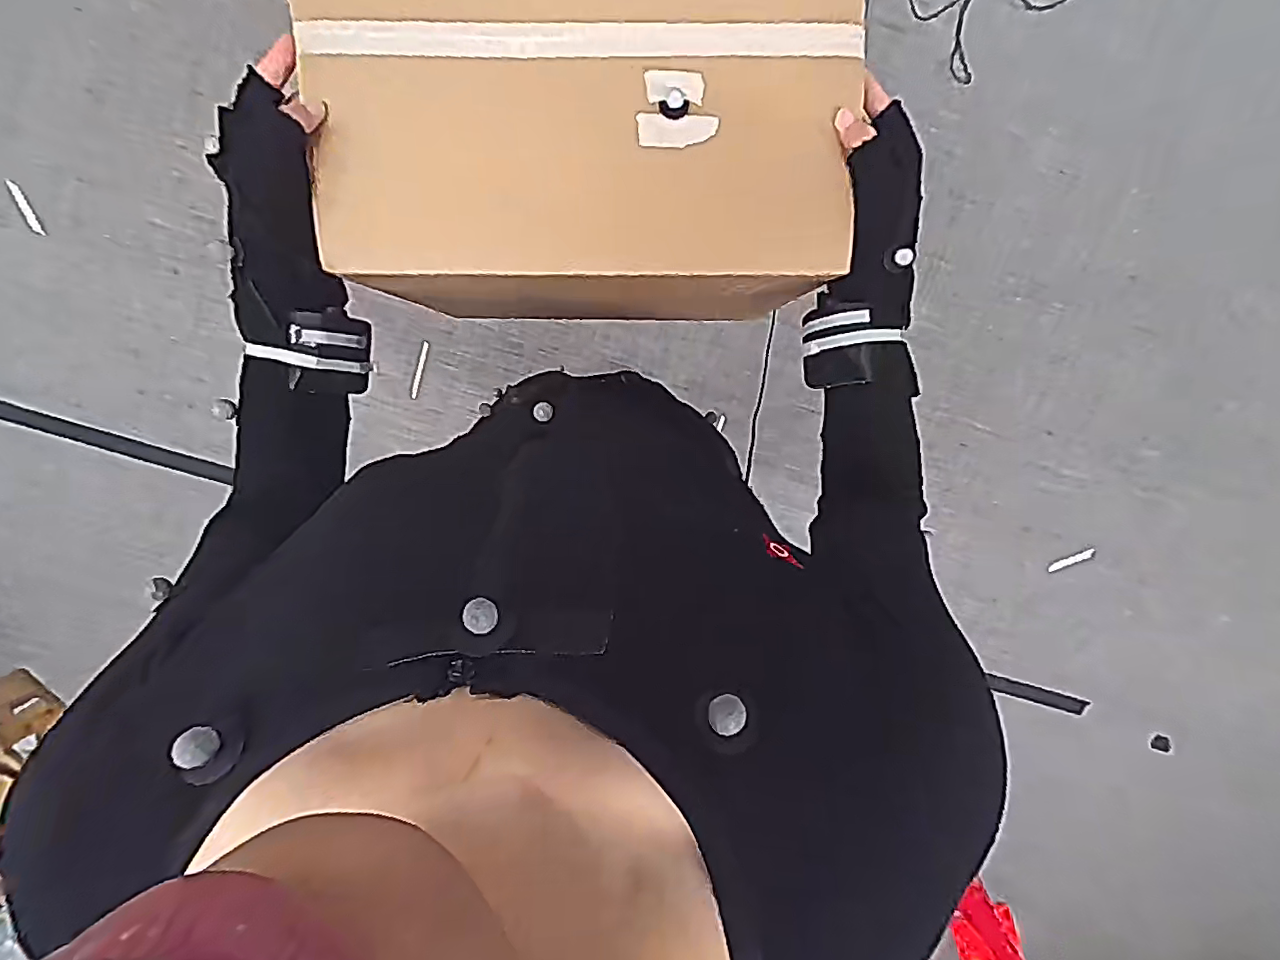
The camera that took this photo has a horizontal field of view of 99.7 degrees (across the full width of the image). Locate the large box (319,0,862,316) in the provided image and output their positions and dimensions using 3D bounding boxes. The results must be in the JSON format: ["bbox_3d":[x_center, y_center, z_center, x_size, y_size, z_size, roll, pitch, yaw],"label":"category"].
[{"bbox_3d":[-0.040,-0.347,0.544,0.408,0.320,0.320,0,100,-2],"label":"large box"}]
